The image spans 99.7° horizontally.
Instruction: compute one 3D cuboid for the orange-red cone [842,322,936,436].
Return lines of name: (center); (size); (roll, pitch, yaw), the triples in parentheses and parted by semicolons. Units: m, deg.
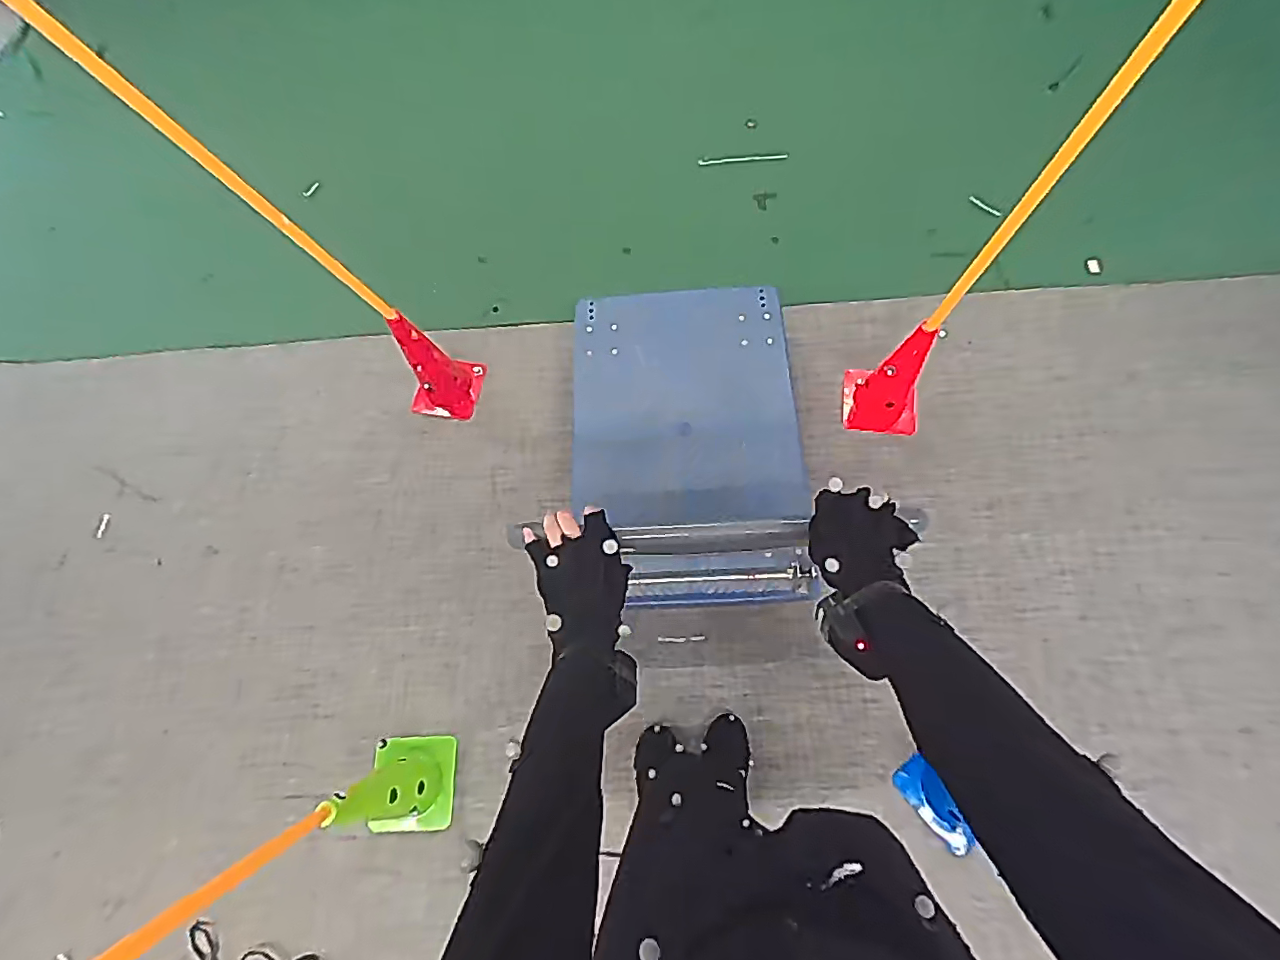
orange-red cone: (0.675, -0.283, 1.400); (0.198, 0.360, 0.199); (8, 70, 8)
